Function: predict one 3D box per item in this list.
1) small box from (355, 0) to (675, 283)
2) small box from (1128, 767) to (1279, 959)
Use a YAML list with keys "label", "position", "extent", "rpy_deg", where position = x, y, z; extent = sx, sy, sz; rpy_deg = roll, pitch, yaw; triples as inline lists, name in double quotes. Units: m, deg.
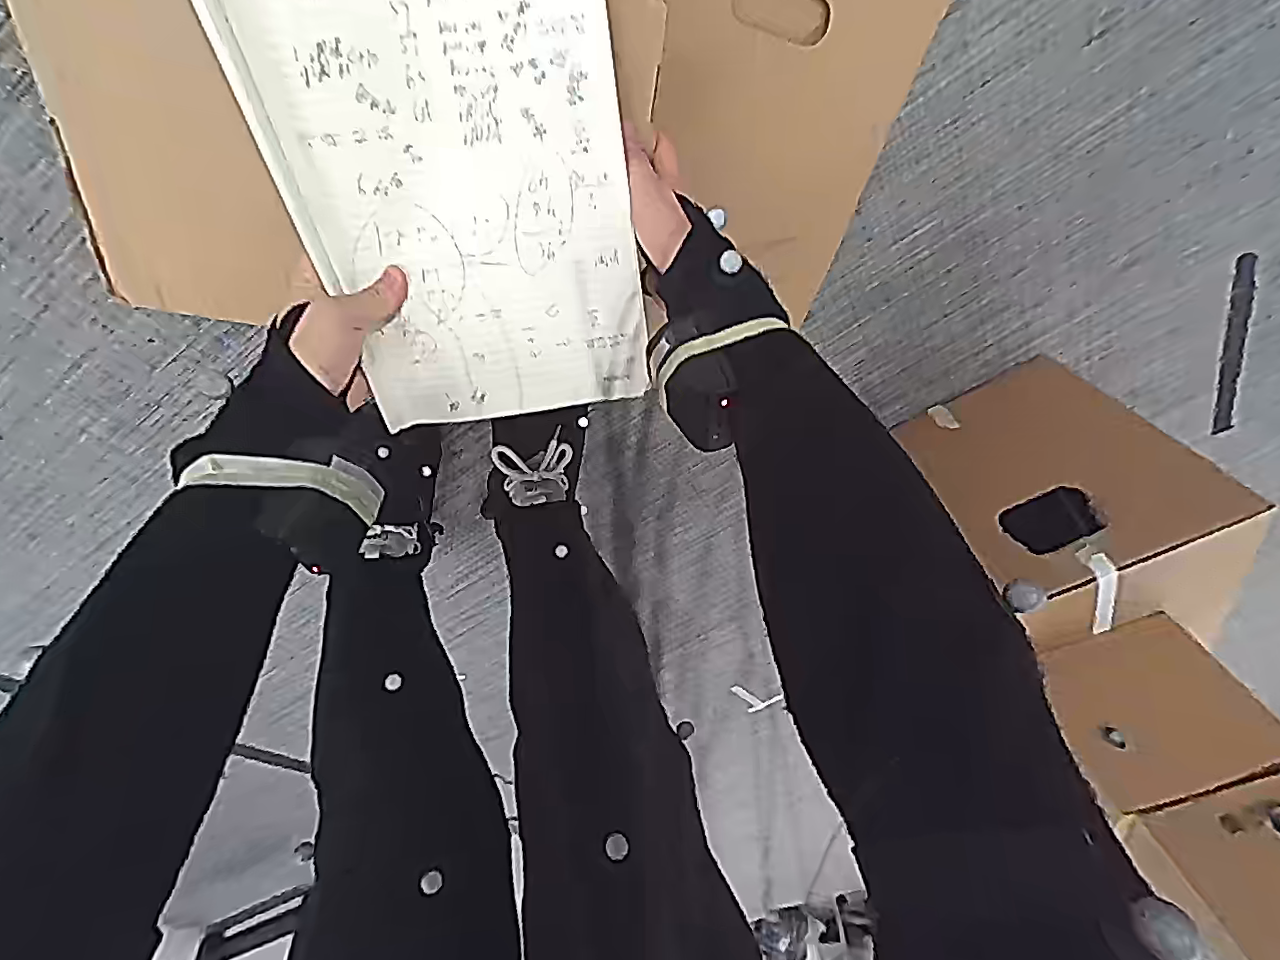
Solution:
- label: "small box"
  position: [-0.096, -0.260, 0.395]
  extent: [0.179, 0.176, 0.168]
  rpy_deg: [-2, 129, -18]
- label: "small box"
  position: [0.600, 0.383, 0.494]
  extent: [0.168, 0.176, 0.179]
  rpy_deg: [-29, 129, 12]
